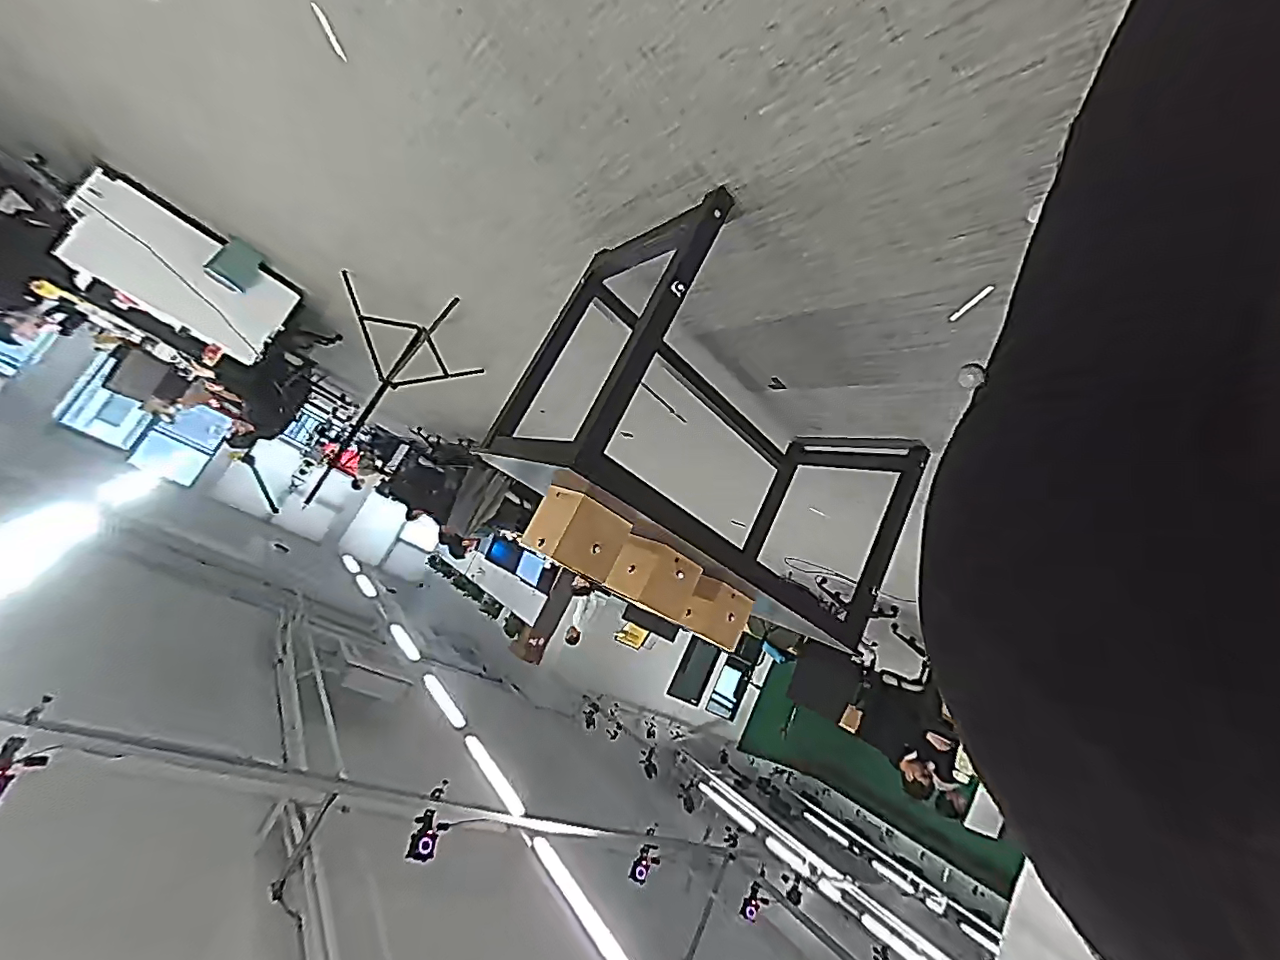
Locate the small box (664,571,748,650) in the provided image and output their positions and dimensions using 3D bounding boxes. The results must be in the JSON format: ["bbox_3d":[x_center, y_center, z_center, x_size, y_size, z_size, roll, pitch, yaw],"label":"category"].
[{"bbox_3d":[0.208,0.389,1.647,0.168,0.176,0.179,36,165,-33],"label":"small box"}]

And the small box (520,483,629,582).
[{"bbox_3d":[-0.158,0.128,1.337,0.179,0.176,0.168,35,166,-36],"label":"small box"}]

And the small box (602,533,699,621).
[{"bbox_3d":[0.033,0.262,1.494,0.168,0.176,0.179,35,165,-33],"label":"small box"}]
